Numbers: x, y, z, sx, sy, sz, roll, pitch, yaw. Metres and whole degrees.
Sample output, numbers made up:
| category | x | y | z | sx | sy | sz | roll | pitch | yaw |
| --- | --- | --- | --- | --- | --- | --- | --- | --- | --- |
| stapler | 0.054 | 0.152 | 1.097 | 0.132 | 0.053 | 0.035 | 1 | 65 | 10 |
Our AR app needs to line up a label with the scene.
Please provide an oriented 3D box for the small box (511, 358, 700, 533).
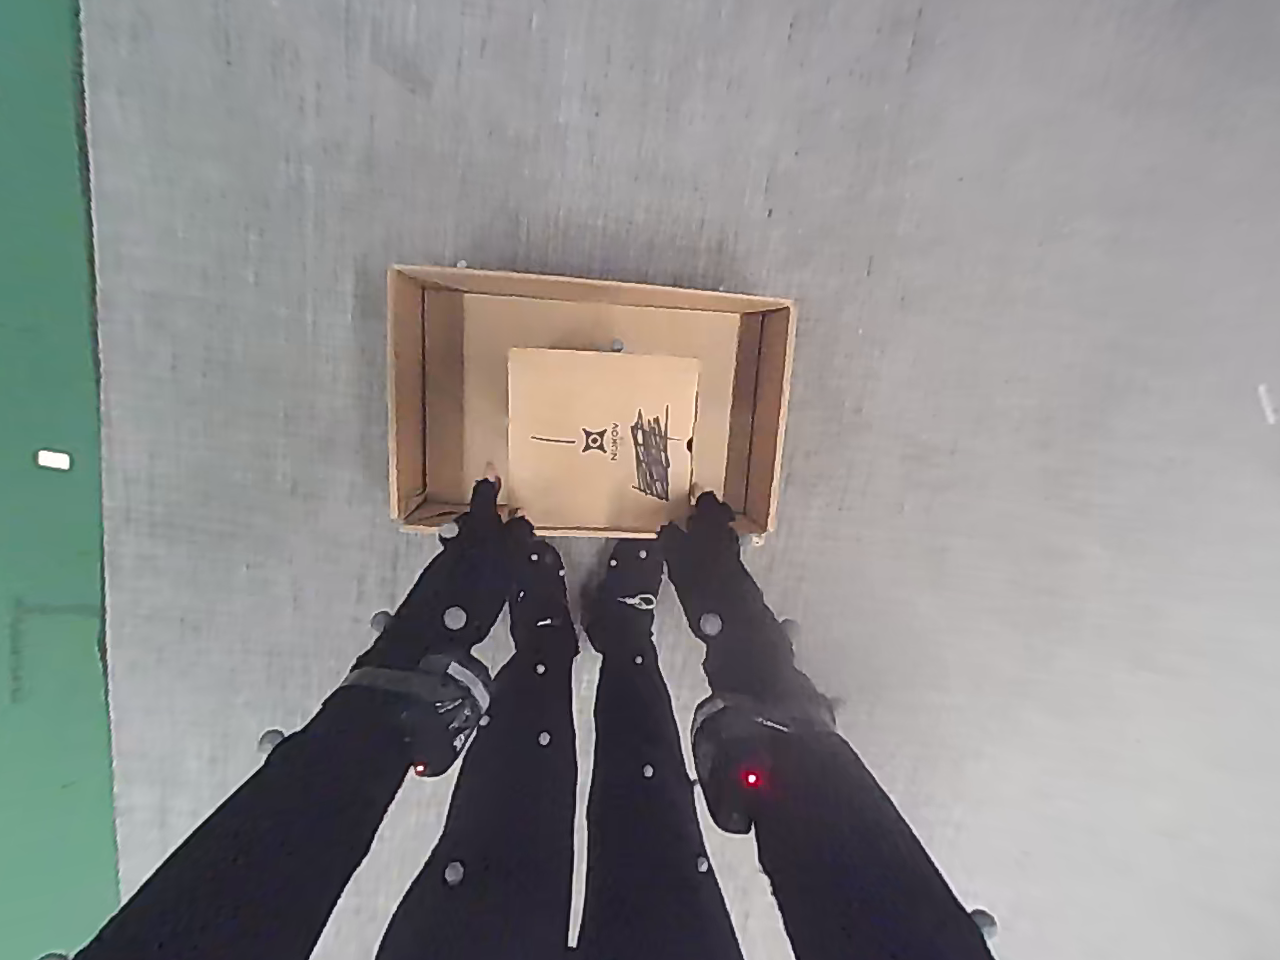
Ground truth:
| category | x | y | z | sx | sy | sz | roll | pitch | yaw |
| --- | --- | --- | --- | --- | --- | --- | --- | --- | --- |
| small box | -0.043 | -0.045 | 0.589 | 0.179 | 0.176 | 0.168 | 1 | 101 | -7 |
